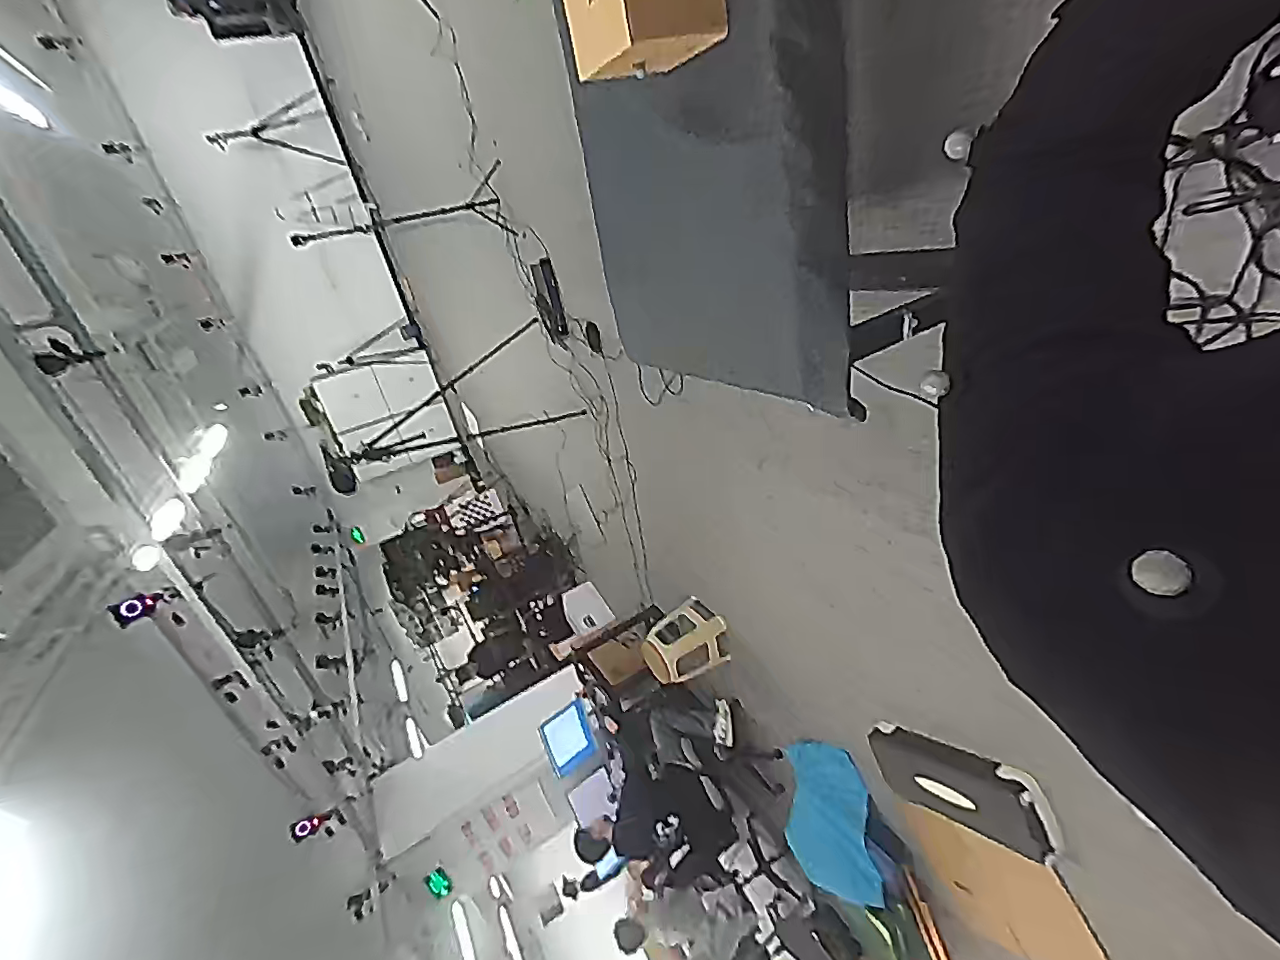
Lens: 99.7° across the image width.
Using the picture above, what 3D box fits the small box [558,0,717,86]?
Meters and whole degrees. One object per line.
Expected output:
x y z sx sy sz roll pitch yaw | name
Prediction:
-0.006 -0.693 0.765 0.168 0.176 0.179 30 138 54 | small box
